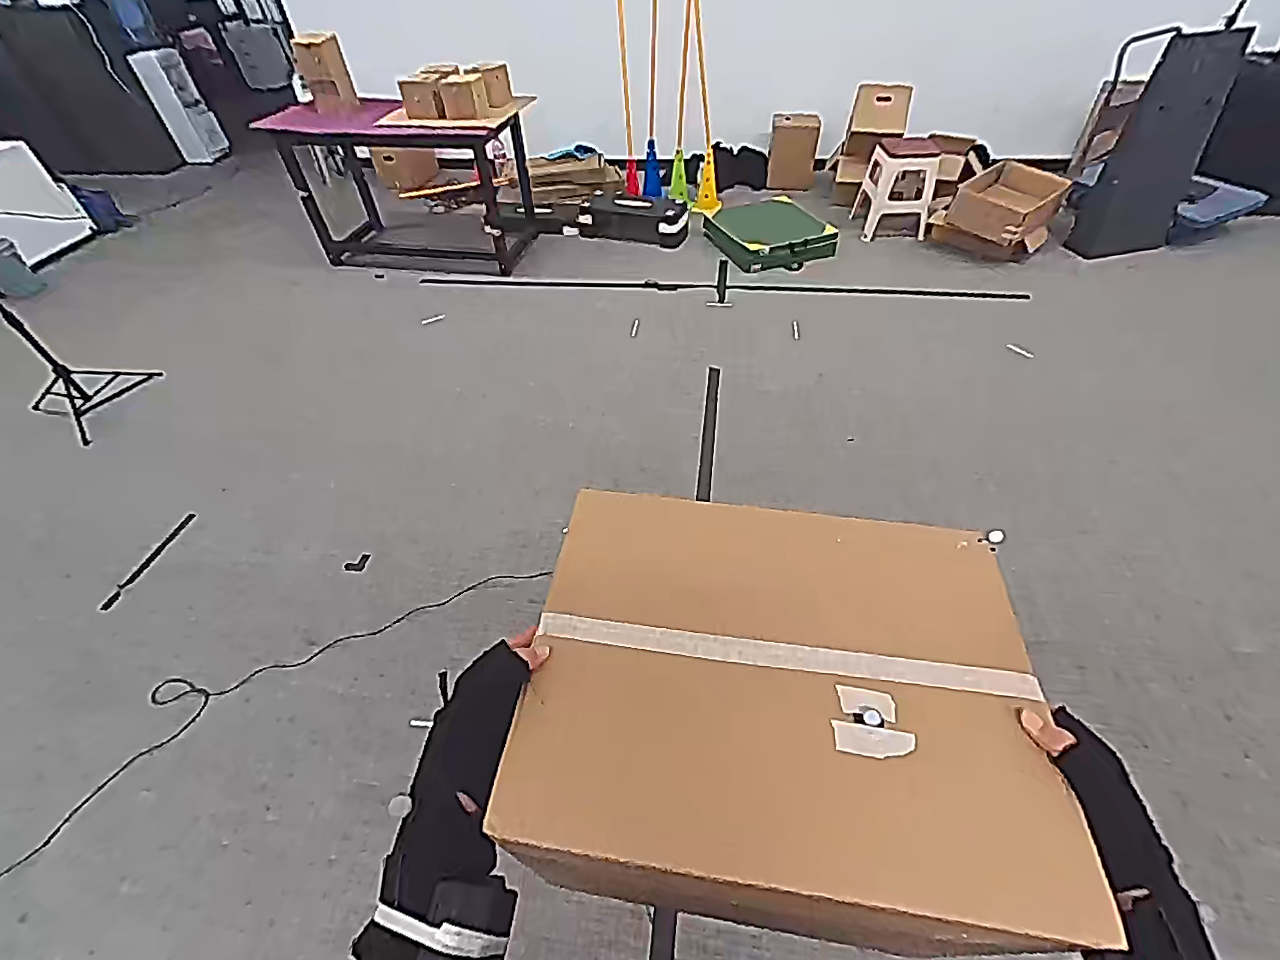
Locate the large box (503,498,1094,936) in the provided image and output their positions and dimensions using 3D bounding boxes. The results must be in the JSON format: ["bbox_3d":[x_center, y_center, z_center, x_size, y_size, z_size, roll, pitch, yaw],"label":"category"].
[{"bbox_3d":[0.115,0.248,0.571,0.408,0.320,0.320,6,50,6],"label":"large box"}]
